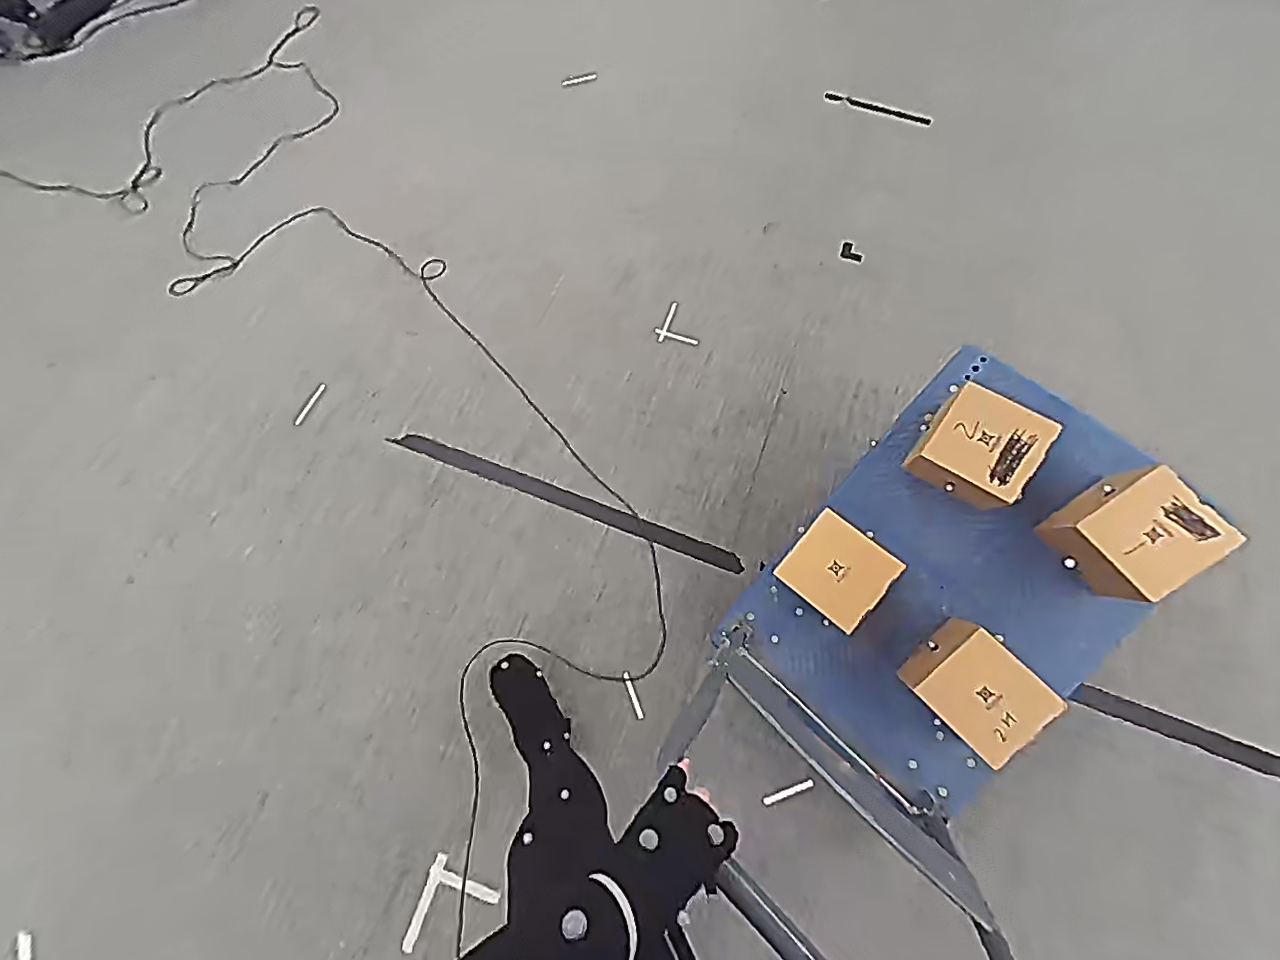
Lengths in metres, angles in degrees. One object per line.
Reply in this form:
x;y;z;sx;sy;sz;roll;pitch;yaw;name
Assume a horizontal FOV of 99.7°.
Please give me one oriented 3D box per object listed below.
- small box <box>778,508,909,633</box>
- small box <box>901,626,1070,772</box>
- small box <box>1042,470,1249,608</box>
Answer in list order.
0.393;0.180;1.085;0.179;0.176;0.168;40;92;14;small box
0.616;0.387;0.997;0.168;0.176;0.179;-45;74;5;small box
0.885;0.106;0.971;0.179;0.176;0.168;-38;75;7;small box
